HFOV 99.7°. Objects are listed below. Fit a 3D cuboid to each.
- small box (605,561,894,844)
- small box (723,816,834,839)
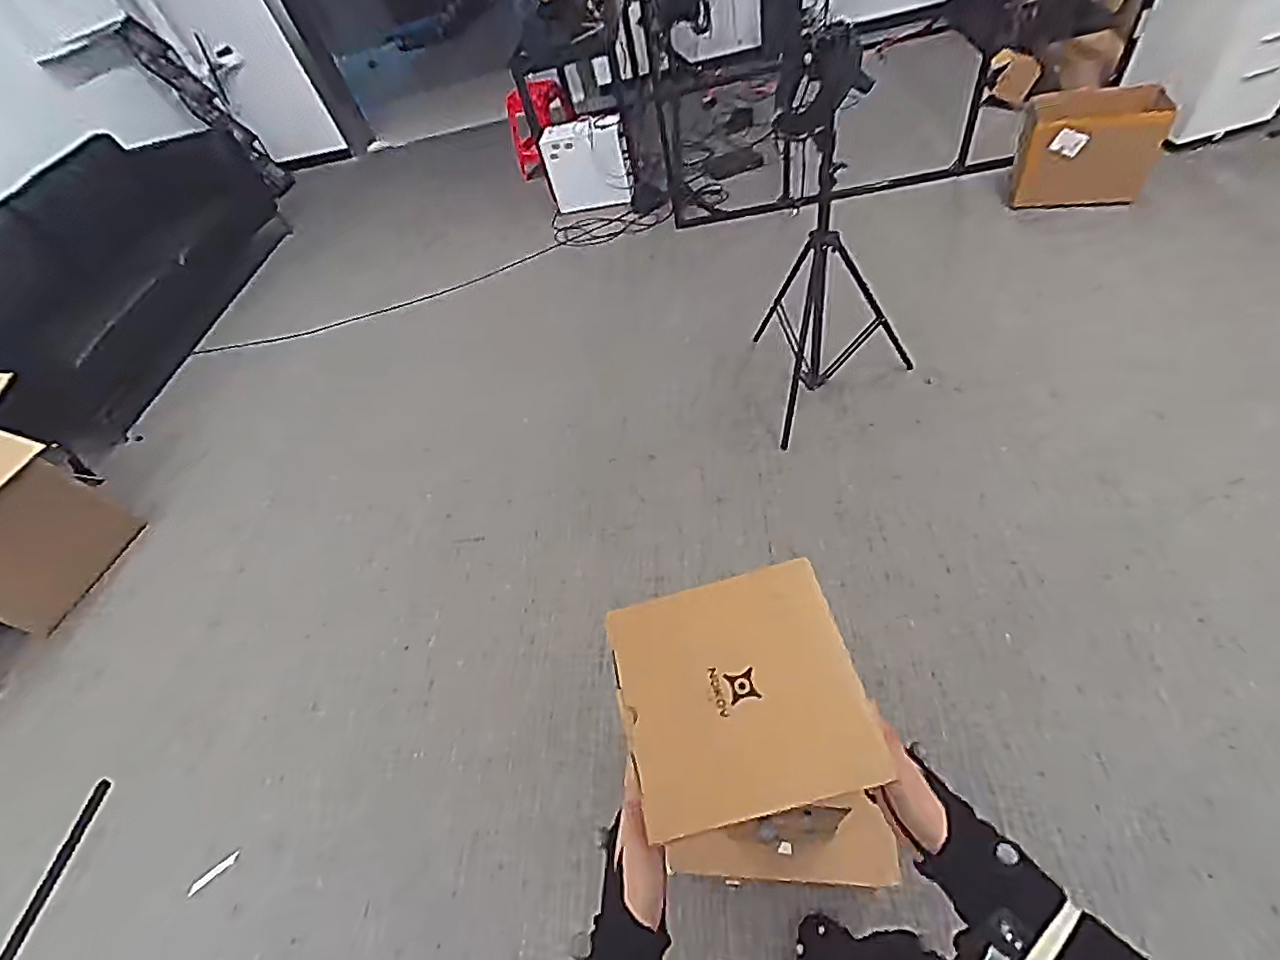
[{"bbox_3d":[0.084,0.192,0.471,0.179,0.176,0.168,-17,60,2],"label":"small box"},{"bbox_3d":[0.232,0.528,0.950,0.179,0.176,0.168,-6,53,9],"label":"small box"}]
